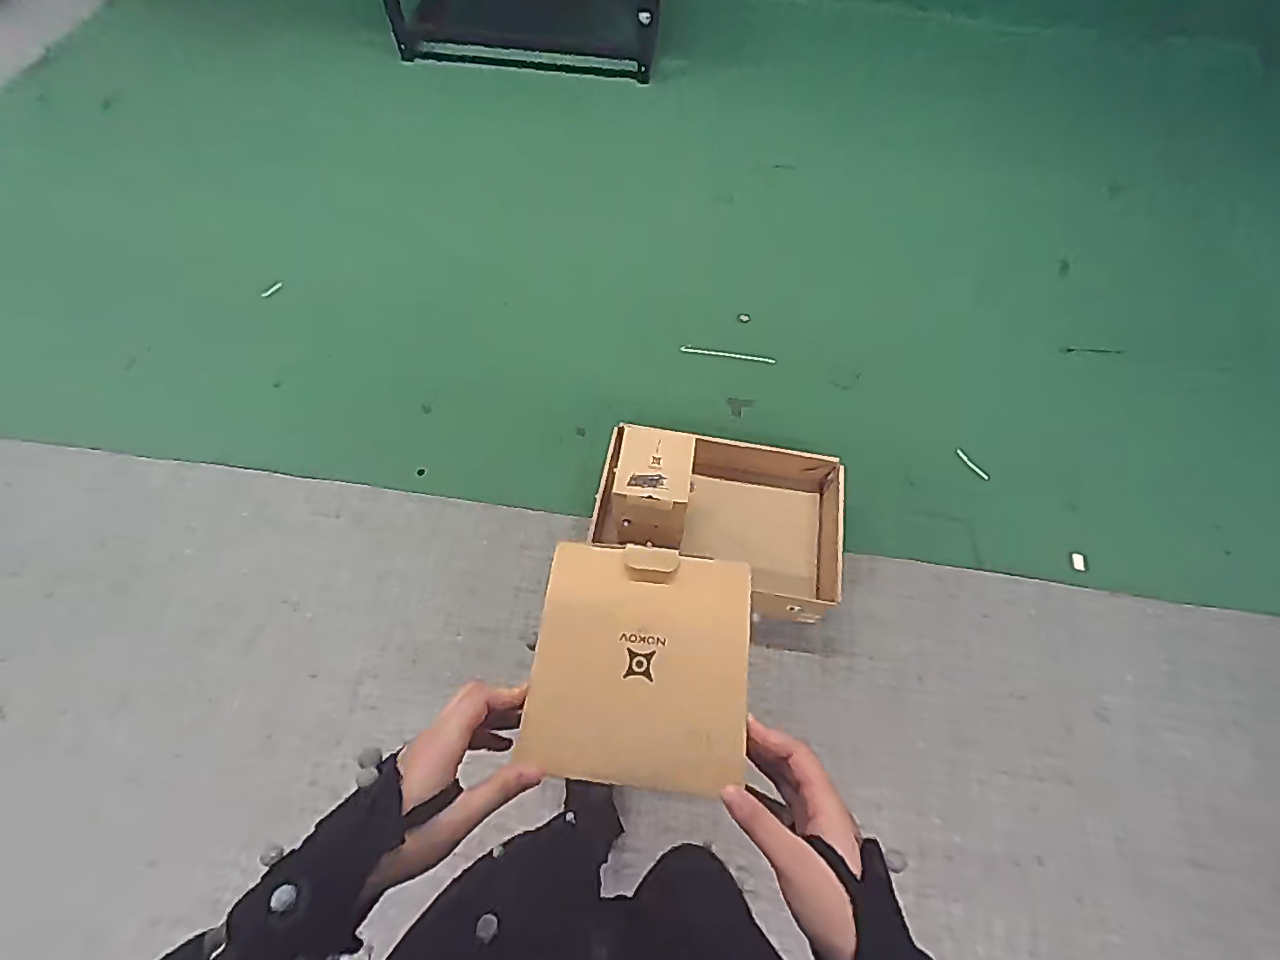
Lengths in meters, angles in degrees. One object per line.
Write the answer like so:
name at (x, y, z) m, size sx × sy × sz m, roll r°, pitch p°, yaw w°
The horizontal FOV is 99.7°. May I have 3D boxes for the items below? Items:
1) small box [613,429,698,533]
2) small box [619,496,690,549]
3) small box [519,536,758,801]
small box at (0.035, 0.008, 1.254) m, size 0.168 × 0.176 × 0.179 m, roll 9°, pitch 63°, yaw 2°
small box at (0.038, 0.072, 1.405) m, size 0.168 × 0.176 × 0.179 m, roll 7°, pitch 64°, yaw 3°
small box at (0.006, 0.167, 0.482) m, size 0.168 × 0.176 × 0.179 m, roll 7°, pitch 64°, yaw 3°
